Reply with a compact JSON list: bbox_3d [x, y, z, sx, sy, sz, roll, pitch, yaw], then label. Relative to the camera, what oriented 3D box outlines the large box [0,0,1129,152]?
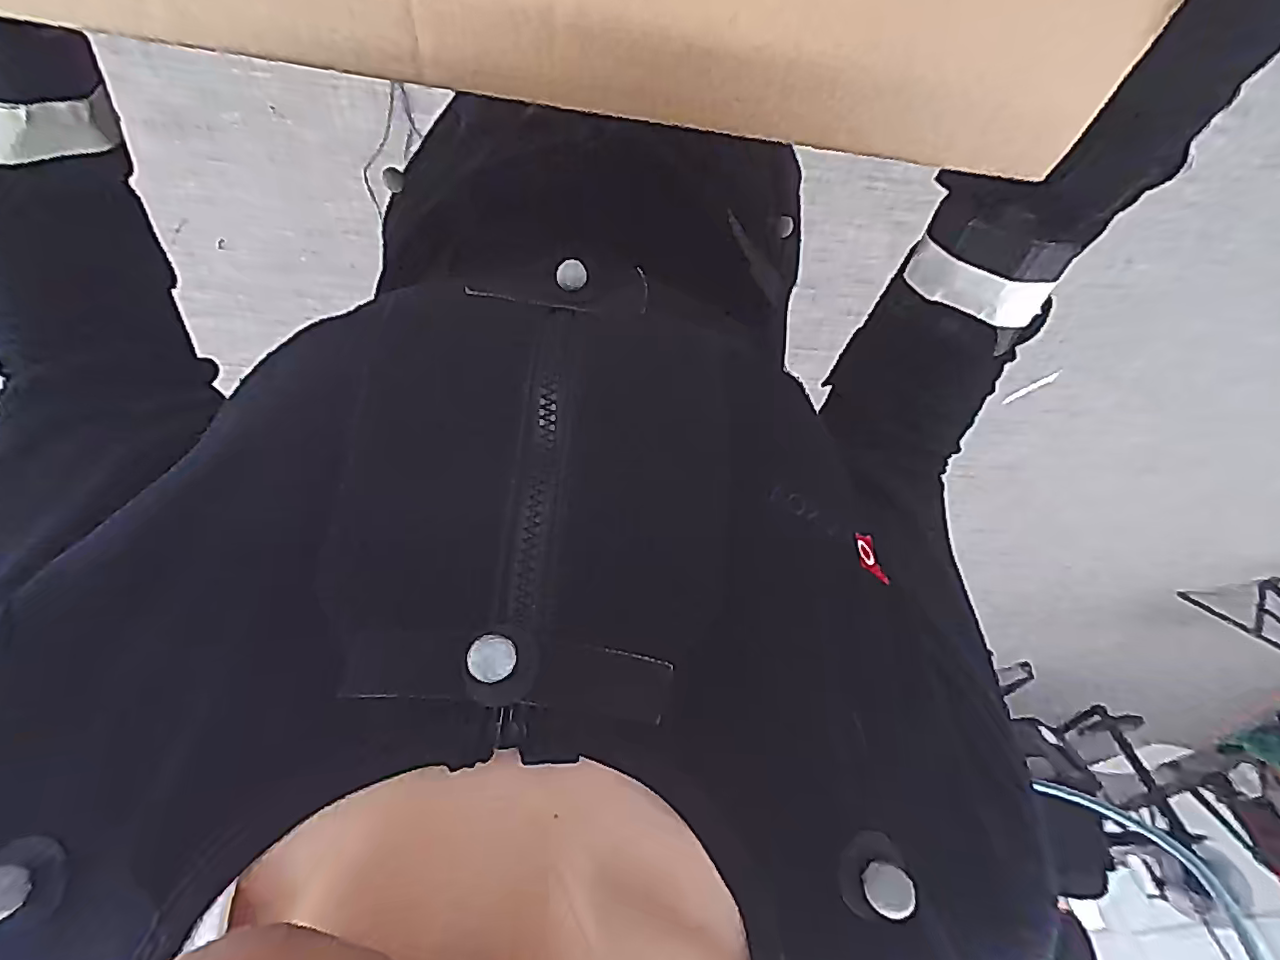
[{"bbox_3d":[-0.016,-0.354,0.153,0.408,0.320,0.320,5,147,-6],"label":"large box"}]
